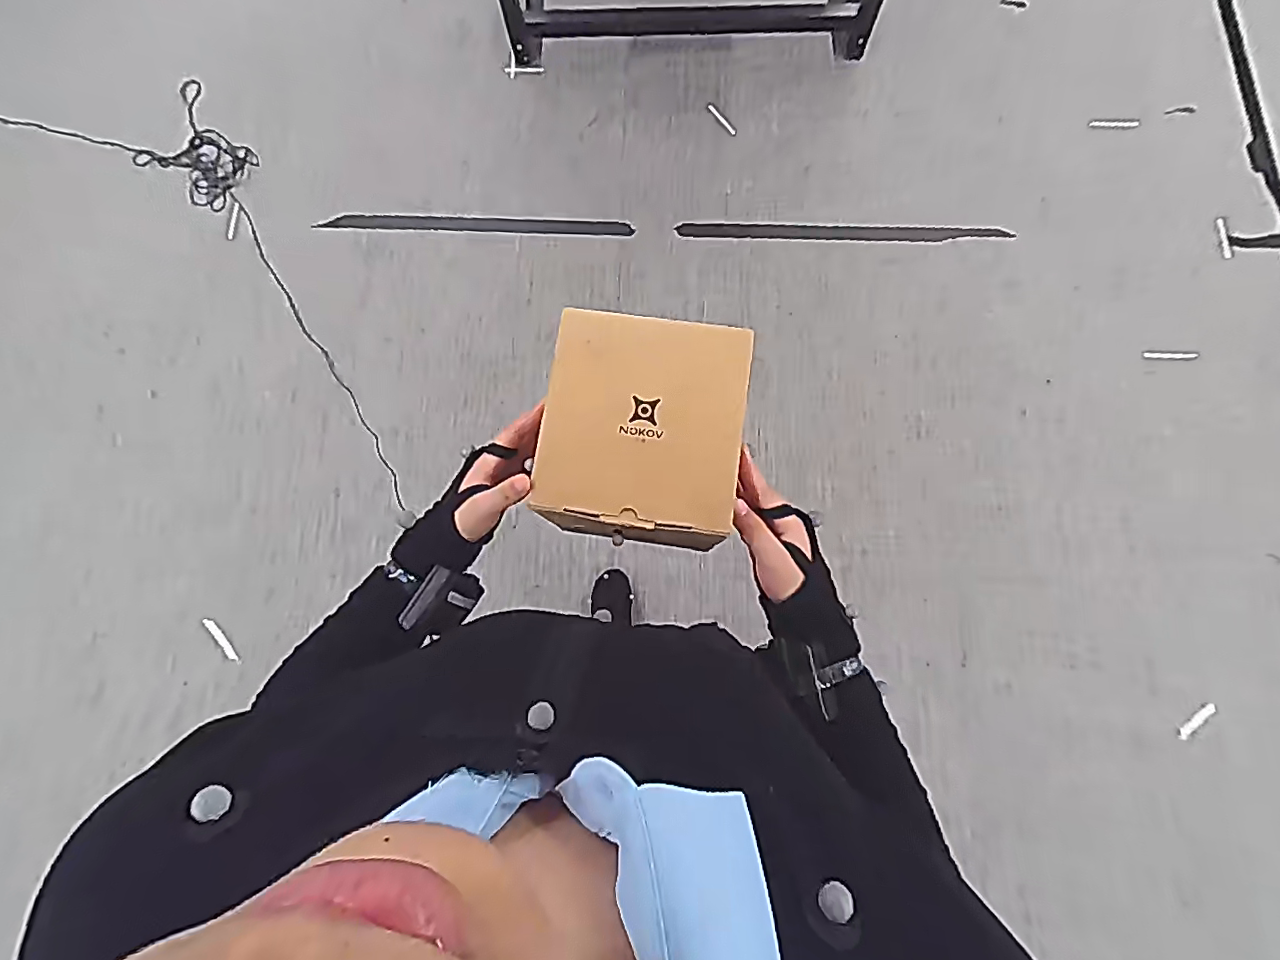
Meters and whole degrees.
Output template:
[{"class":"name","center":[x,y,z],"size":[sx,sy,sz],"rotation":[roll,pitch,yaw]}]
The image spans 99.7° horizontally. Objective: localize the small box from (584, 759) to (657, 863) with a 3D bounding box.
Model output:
[{"class":"small box","center":[-0.043,0.791,1.309],"size":[0.168,0.176,0.179],"rotation":[-1,79,1]}]
